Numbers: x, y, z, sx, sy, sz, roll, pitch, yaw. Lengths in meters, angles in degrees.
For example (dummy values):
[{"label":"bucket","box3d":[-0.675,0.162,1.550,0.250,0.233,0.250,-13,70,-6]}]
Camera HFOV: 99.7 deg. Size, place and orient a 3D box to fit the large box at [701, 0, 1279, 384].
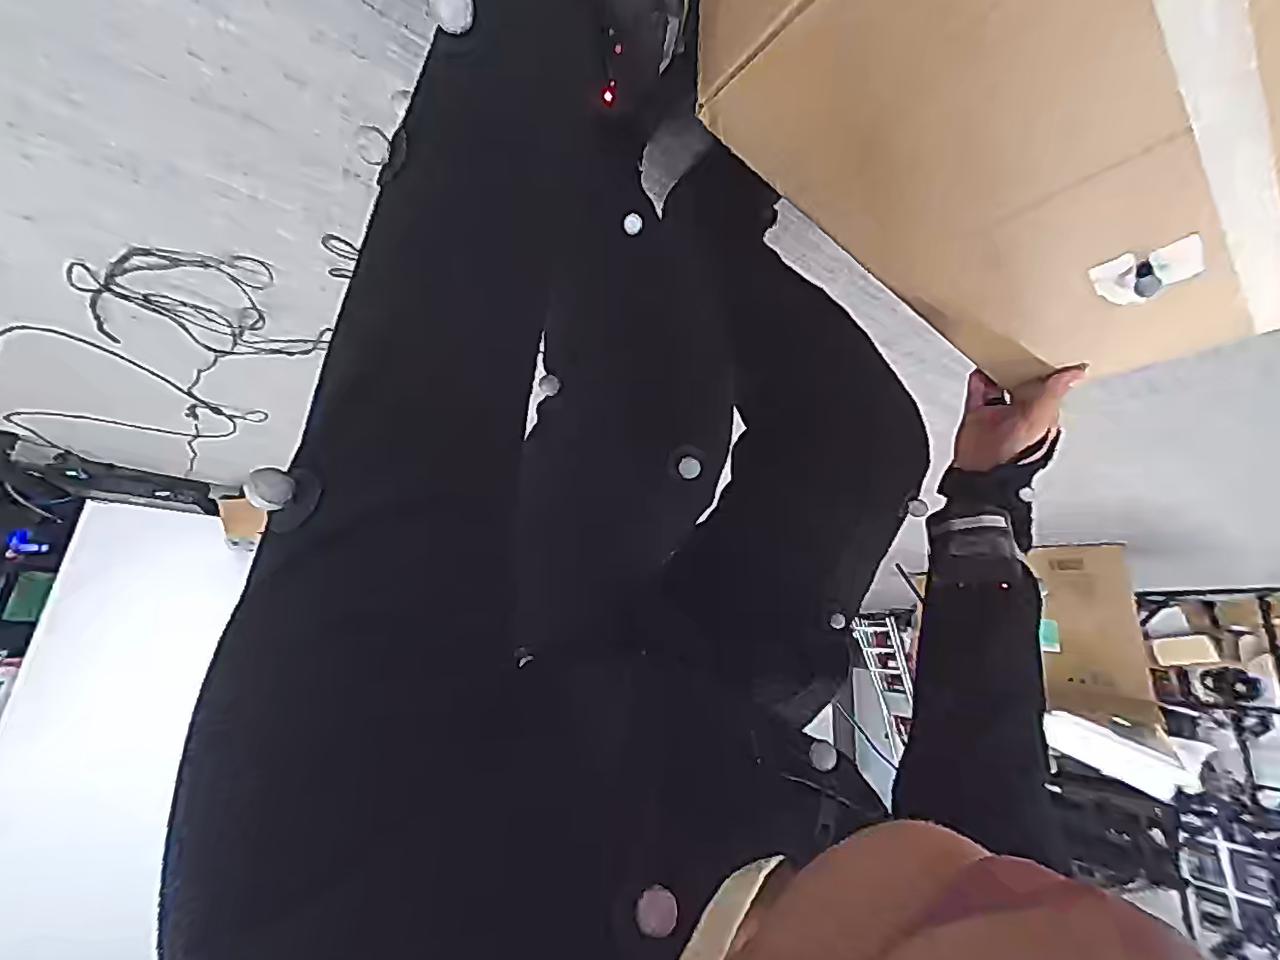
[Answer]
[{"label":"large box","box3d":[0.278,-0.304,0.302,0.408,0.320,0.320,15,158,-36]}]
